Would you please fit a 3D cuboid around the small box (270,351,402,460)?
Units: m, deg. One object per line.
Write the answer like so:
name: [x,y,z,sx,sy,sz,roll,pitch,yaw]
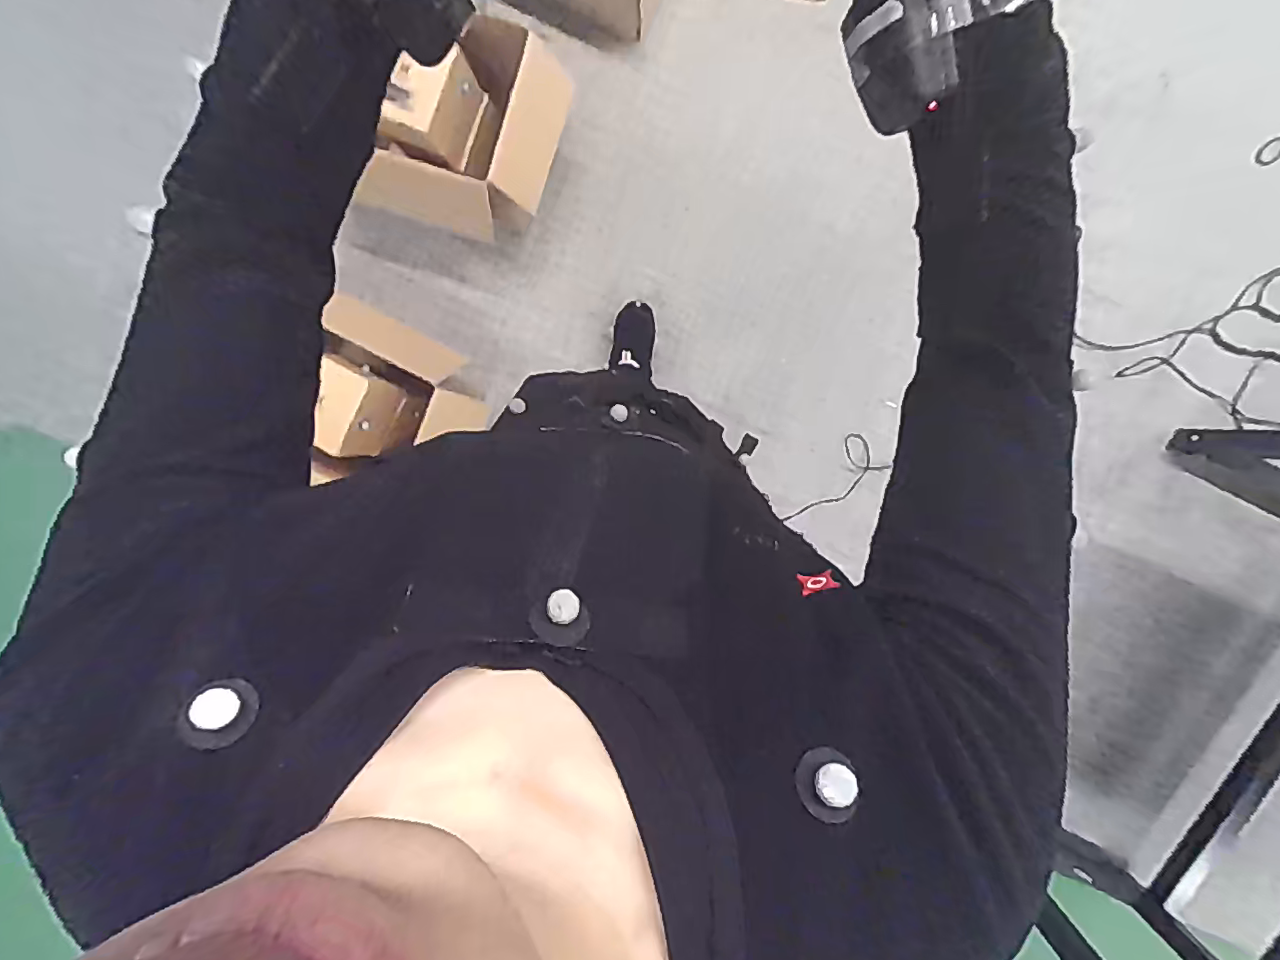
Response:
small box: [-0.660,-0.160,1.200,0.168,0.176,0.179,27,95,0]
